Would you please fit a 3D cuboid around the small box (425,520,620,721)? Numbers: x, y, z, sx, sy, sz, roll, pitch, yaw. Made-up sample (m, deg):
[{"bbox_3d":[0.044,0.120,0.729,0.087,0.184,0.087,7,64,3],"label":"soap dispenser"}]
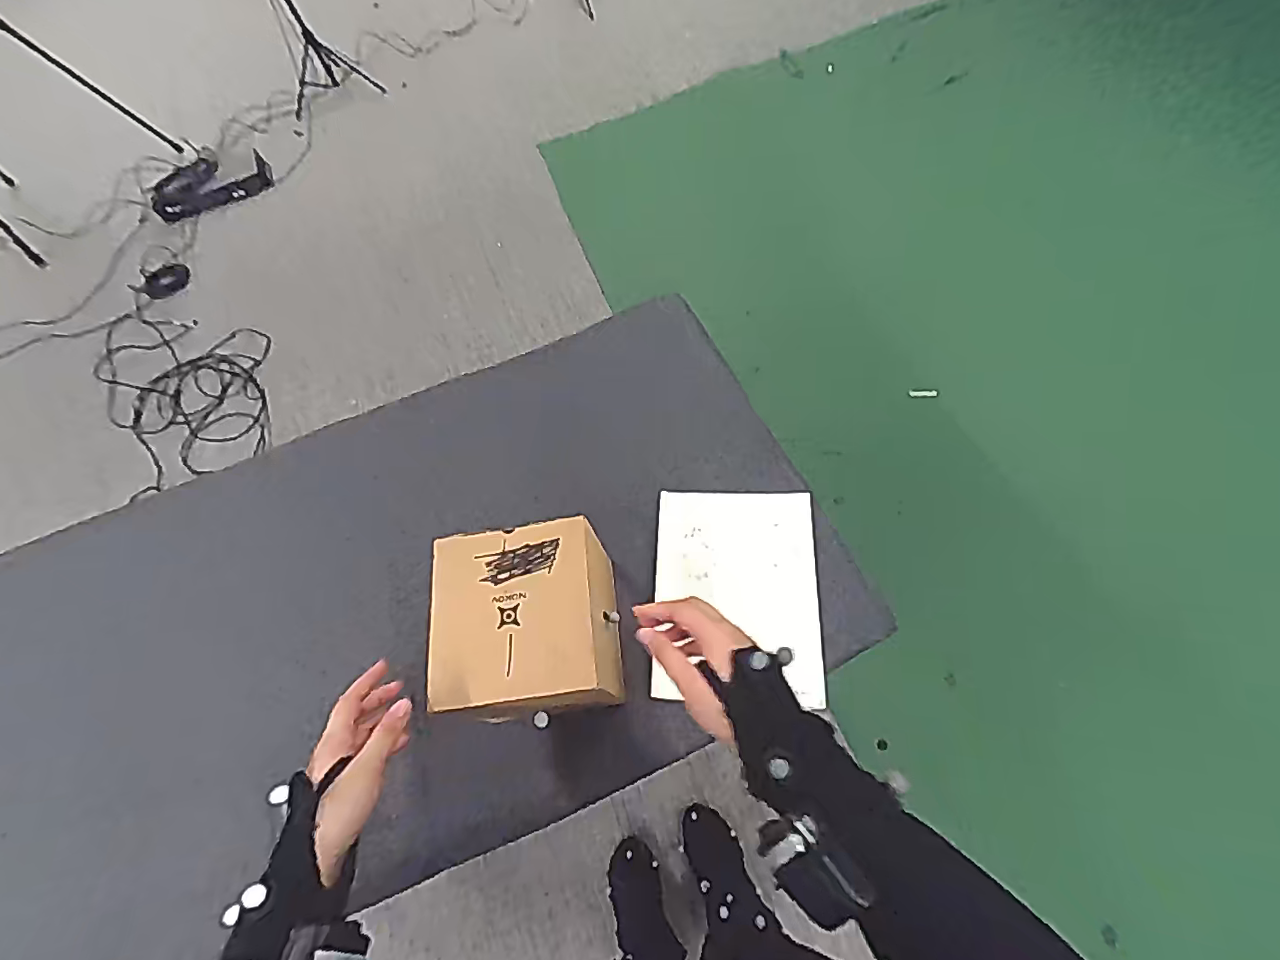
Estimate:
[{"bbox_3d":[-0.122,0.167,0.614,0.168,0.176,0.179,-10,63,4],"label":"small box"}]
